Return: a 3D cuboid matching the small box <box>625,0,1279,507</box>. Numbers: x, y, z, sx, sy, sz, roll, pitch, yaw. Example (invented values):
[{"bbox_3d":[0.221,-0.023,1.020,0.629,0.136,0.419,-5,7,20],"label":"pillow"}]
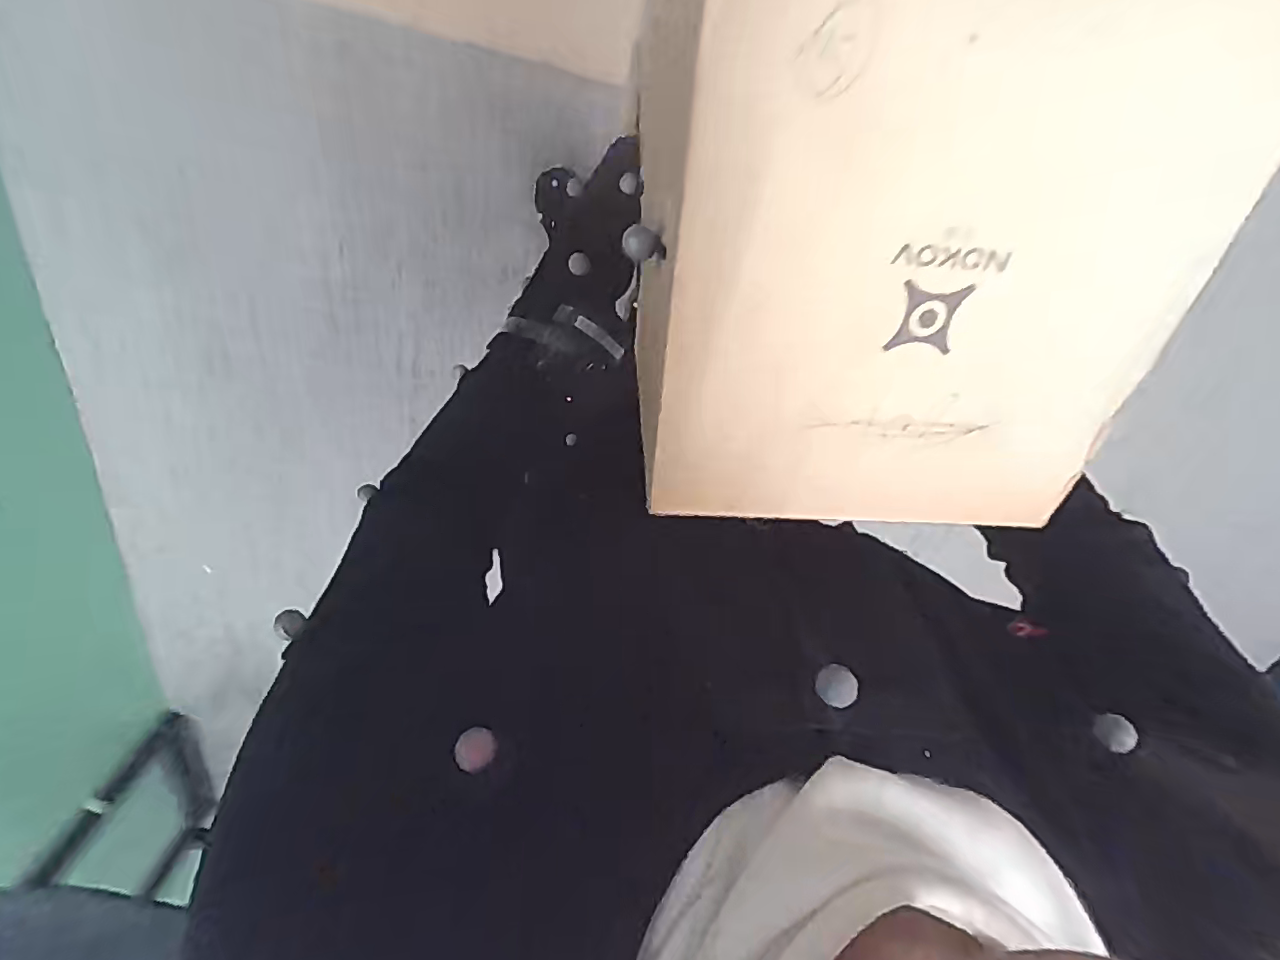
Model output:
[{"bbox_3d":[0.080,-0.108,0.231,0.168,0.176,0.179,2,126,-3],"label":"small box"}]
